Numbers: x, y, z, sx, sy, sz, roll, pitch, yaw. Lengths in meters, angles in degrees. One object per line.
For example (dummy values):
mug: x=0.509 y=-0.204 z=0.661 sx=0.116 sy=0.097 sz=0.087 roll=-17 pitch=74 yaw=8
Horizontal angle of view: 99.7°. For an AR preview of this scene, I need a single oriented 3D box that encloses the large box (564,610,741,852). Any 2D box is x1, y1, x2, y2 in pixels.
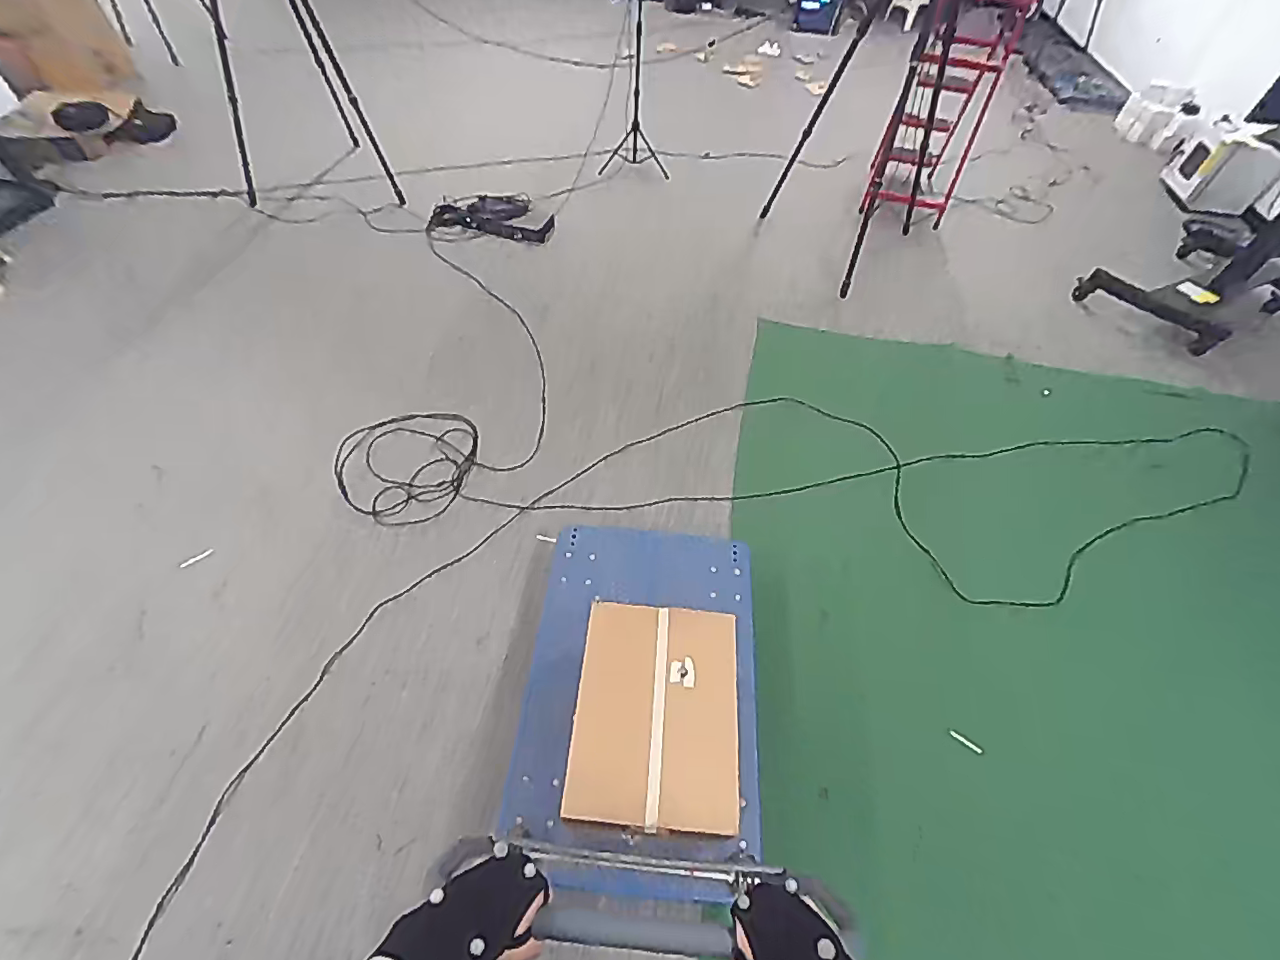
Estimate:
large box: x=0.027 y=0.541 z=1.160 sx=0.320 sy=0.320 sz=0.408 roll=6 pitch=52 yaw=0
